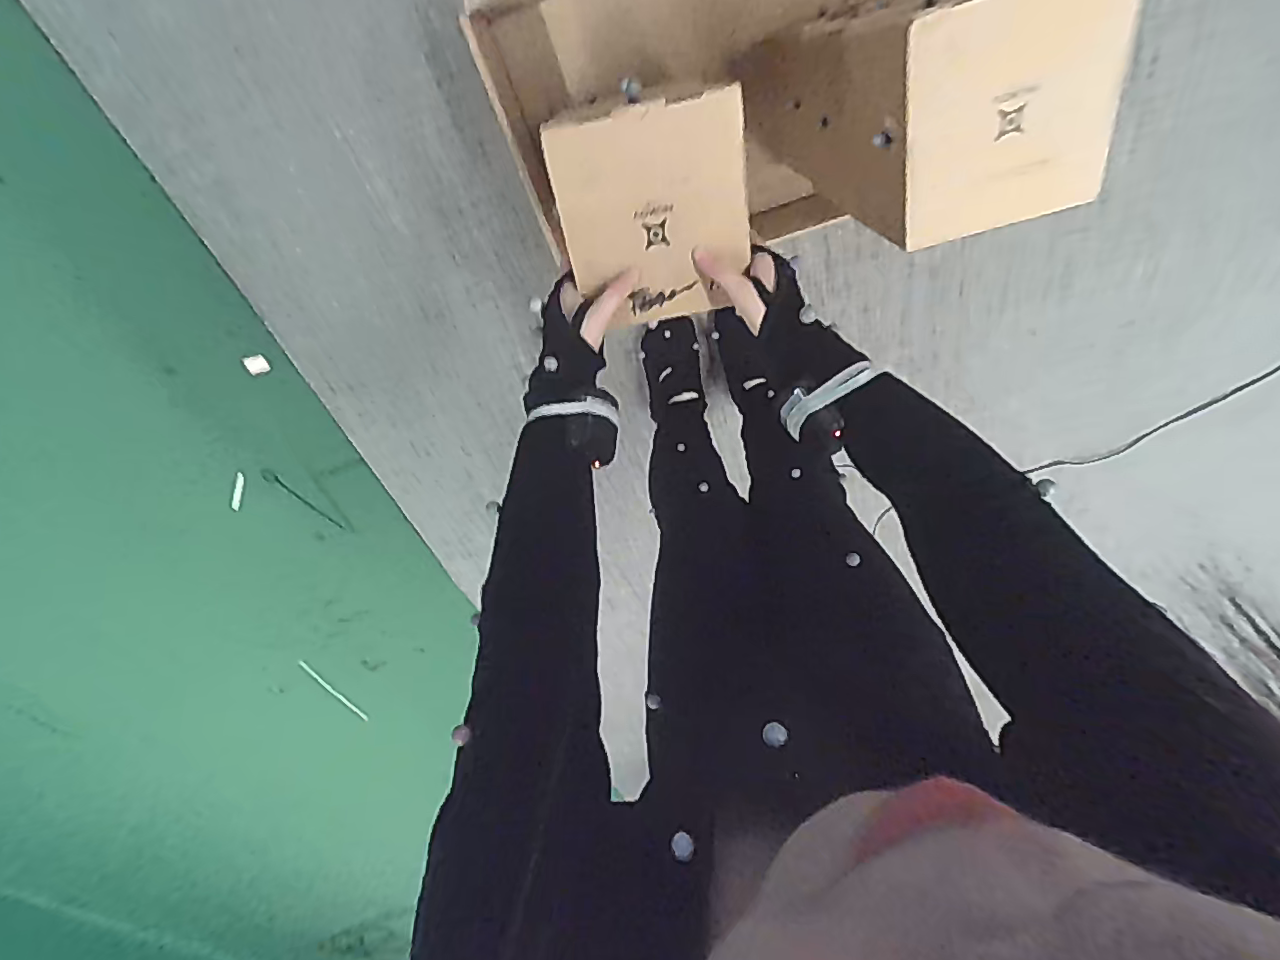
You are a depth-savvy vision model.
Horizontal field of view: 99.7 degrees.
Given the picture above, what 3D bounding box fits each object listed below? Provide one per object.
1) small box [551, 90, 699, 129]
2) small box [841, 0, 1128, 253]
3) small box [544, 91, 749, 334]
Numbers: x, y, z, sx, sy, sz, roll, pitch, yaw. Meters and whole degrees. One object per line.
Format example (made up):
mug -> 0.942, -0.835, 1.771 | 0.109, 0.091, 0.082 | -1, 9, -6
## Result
small box -> -0.002, -0.370, 0.682 | 0.168, 0.176, 0.179 | -11, 125, 5
small box -> 0.298, -0.342, 0.511 | 0.168, 0.176, 0.179 | -12, 126, 9
small box -> 0.011, -0.272, 0.550 | 0.168, 0.176, 0.179 | -9, 125, 5
